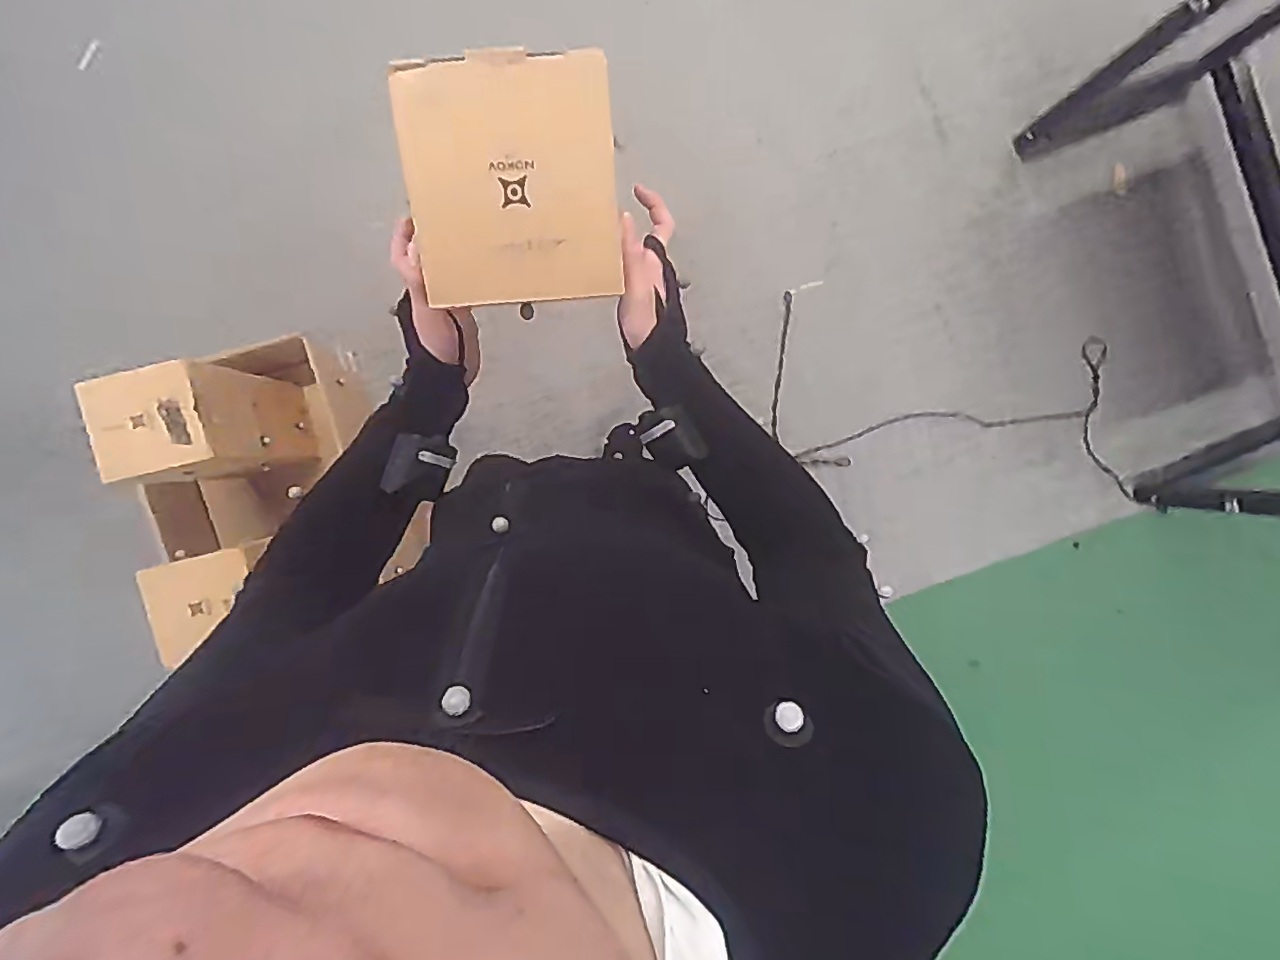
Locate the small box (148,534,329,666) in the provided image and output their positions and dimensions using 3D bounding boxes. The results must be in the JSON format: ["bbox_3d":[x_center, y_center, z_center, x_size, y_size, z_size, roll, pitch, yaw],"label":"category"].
[{"bbox_3d":[-0.695,0.203,0.956,0.179,0.176,0.168,-14,93,-1],"label":"small box"}]

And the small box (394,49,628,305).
[{"bbox_3d":[-0.100,-0.258,0.499,0.168,0.176,0.179,-4,110,-2],"label":"small box"}]

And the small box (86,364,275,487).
[{"bbox_3d":[-0.779,-0.092,0.942,0.179,0.176,0.168,-15,92,-1],"label":"small box"}]
